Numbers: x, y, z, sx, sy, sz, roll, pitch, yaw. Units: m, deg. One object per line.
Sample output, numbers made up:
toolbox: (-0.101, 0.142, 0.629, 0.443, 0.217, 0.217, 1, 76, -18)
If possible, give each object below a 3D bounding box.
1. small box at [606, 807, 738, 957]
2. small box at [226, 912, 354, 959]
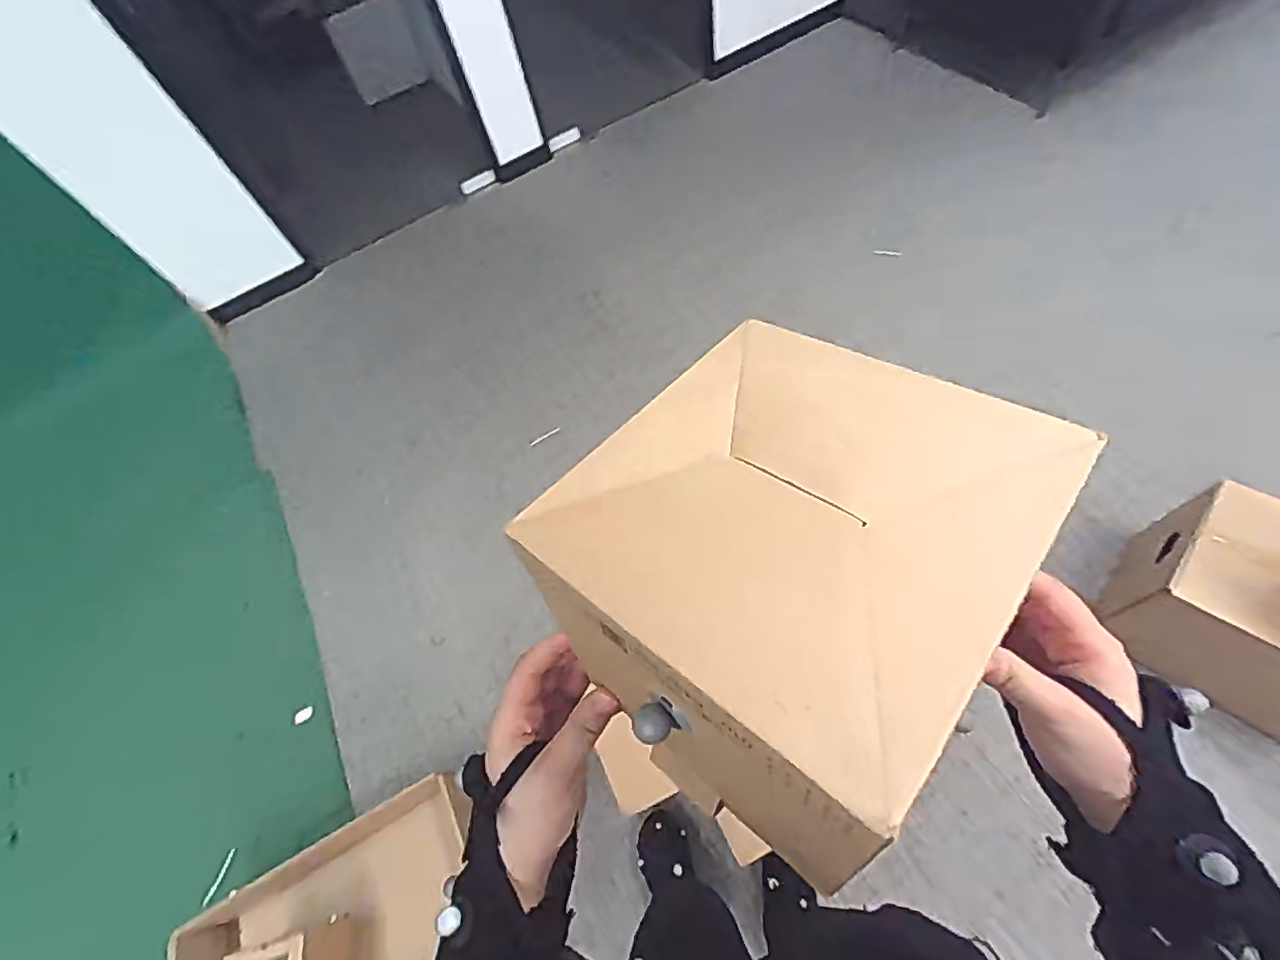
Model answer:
small box: (0.071, 0.795, 1.085, 0.176, 0.168, 0.179, 44, 45, -2)
small box: (-0.697, 0.994, 1.080, 0.168, 0.176, 0.179, -16, 59, 0)
